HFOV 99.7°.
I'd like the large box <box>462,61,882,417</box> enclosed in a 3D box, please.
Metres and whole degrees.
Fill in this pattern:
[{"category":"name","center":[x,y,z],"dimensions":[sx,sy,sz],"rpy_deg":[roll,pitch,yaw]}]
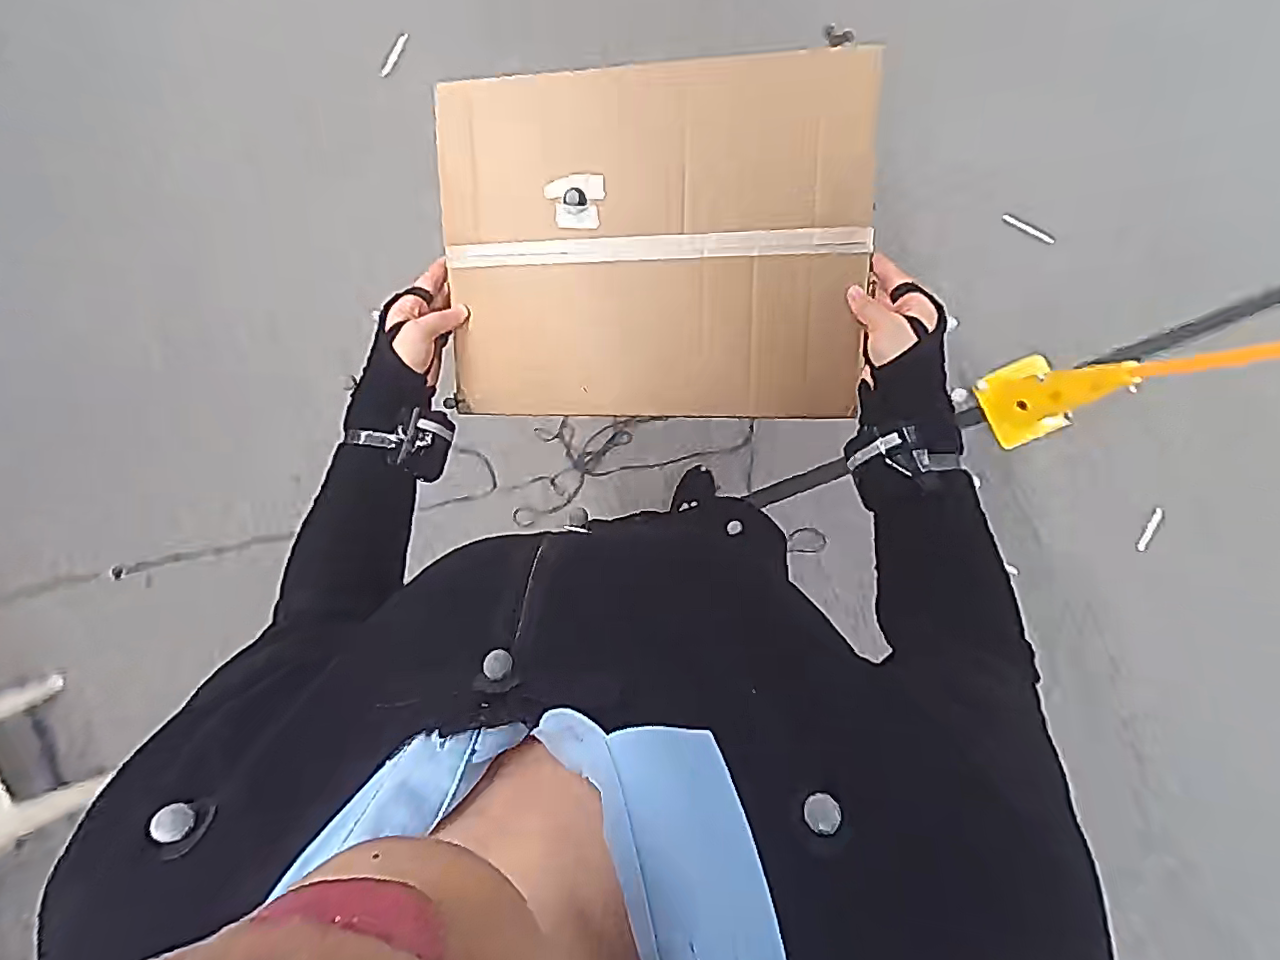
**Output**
[{"category":"large box","center":[0.044,-0.247,0.673],"dimensions":[0.408,0.320,0.320],"rpy_deg":[2,100,9]}]
